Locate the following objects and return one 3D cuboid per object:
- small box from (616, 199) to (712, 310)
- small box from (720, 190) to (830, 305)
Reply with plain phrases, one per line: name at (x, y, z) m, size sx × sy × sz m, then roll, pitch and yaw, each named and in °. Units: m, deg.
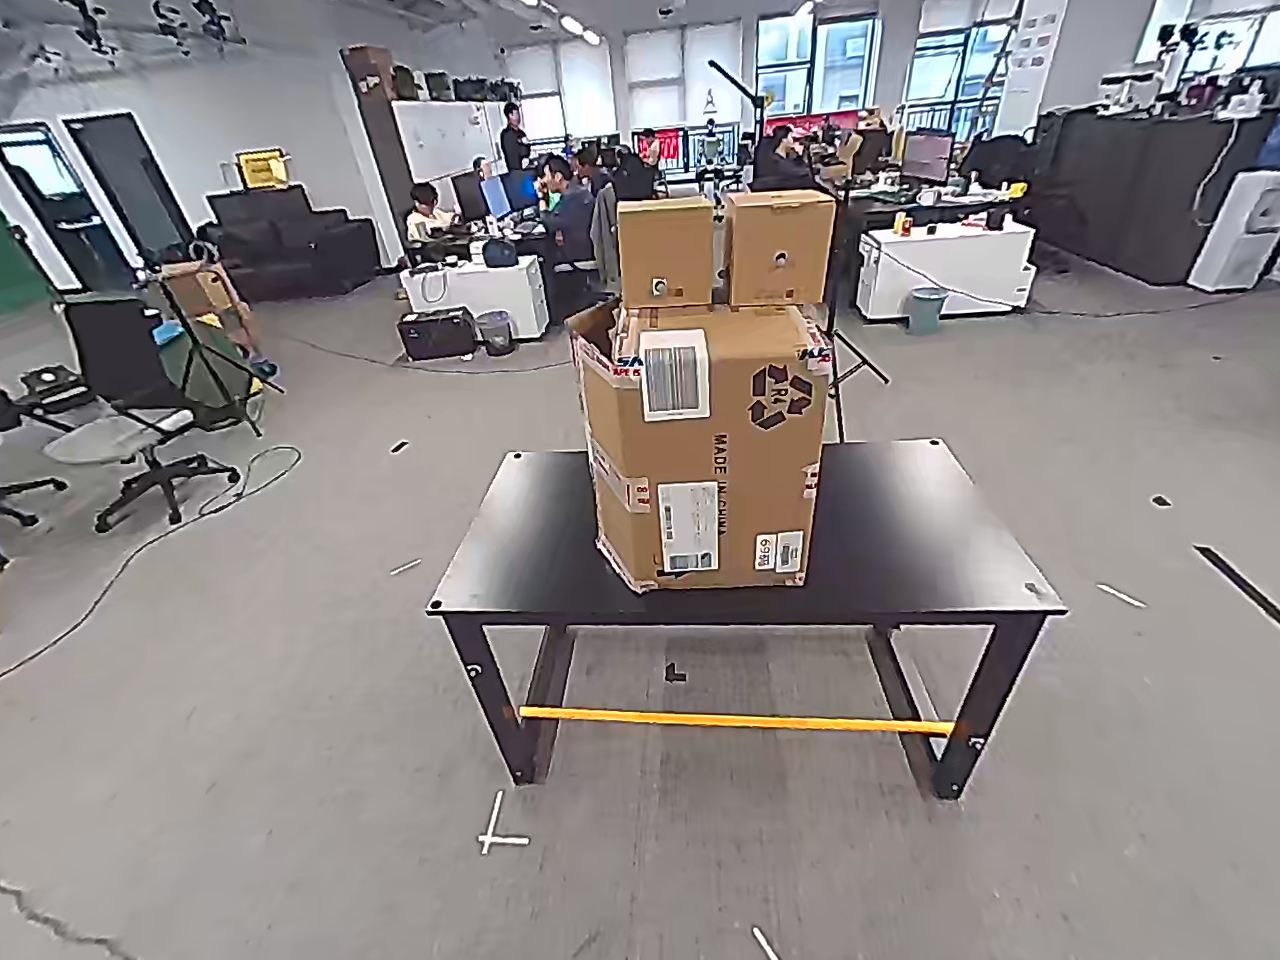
small box at (0.043, -0.430, 1.029) m, size 0.168 × 0.176 × 0.179 m, roll -5°, pitch 33°, yaw 0°
small box at (0.240, -0.430, 1.004) m, size 0.168 × 0.176 × 0.179 m, roll -1°, pitch 35°, yaw 3°
